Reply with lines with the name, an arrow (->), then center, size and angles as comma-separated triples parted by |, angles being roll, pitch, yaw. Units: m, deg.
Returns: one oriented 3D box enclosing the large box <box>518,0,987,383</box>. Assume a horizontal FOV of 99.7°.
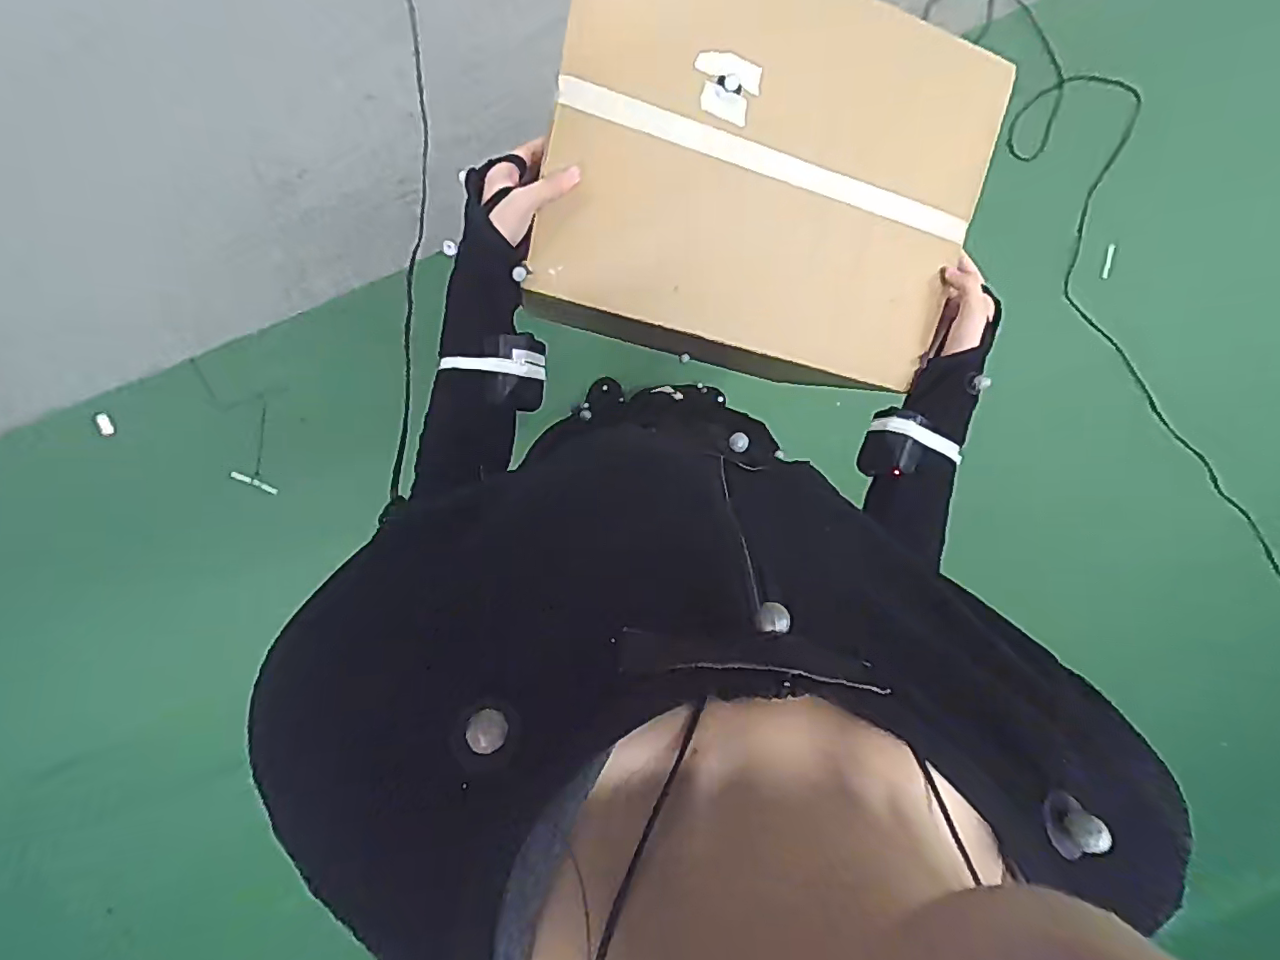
large box -> 0.086, -0.313, 0.643 | 0.408, 0.320, 0.320 | 11, 100, -13
